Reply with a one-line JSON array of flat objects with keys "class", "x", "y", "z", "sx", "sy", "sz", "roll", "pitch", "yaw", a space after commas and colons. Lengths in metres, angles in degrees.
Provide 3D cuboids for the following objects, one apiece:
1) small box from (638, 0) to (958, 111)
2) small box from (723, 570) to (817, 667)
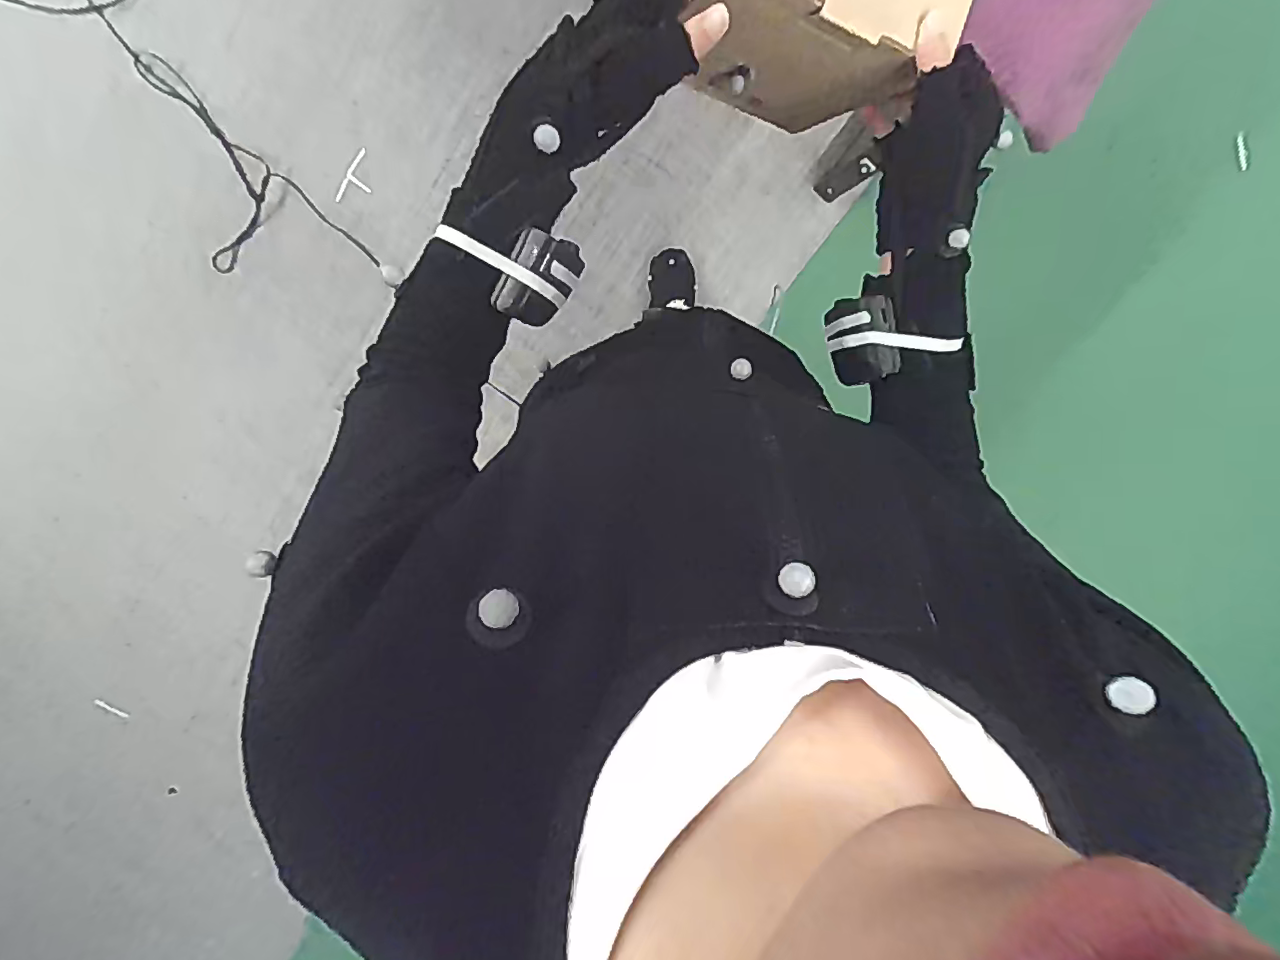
[{"class": "small box", "x": 0.112, "y": -0.393, "z": 0.369, "sx": 0.168, "sy": 0.176, "sz": 0.179, "roll": 6, "pitch": 108, "yaw": -24}, {"class": "small box", "x": 0.355, "y": 0.378, "z": 1.519, "sx": 0.179, "sy": 0.176, "sz": 0.168, "roll": 36, "pitch": 103, "yaw": -11}]
